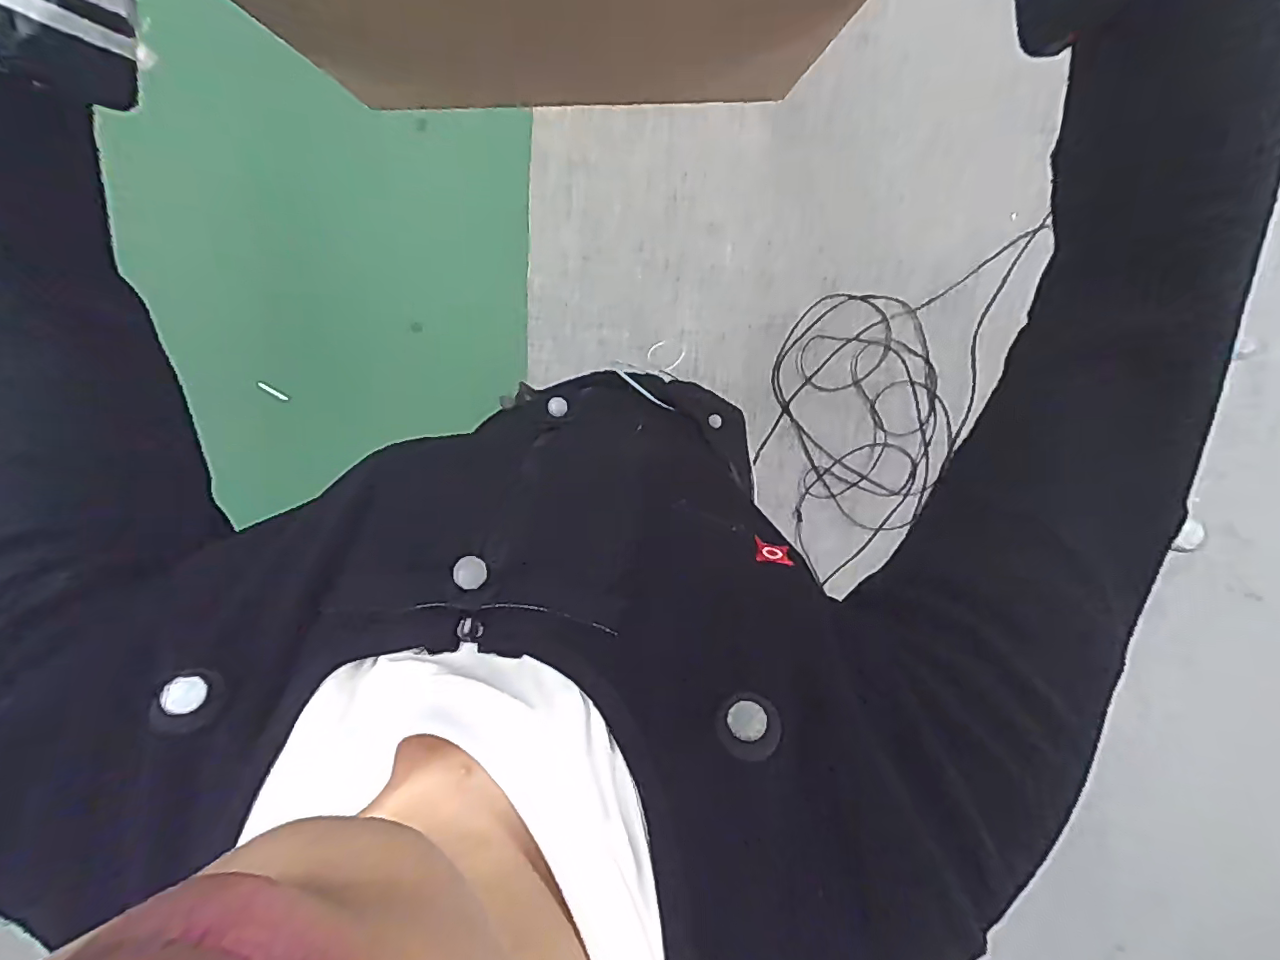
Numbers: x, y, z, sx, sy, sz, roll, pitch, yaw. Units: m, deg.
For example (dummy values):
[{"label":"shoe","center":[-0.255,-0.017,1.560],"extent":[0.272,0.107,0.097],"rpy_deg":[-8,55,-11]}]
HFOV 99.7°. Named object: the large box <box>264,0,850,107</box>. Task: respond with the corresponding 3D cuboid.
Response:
[{"label":"large box","center":[-0.056,-0.469,0.339],"extent":[0.408,0.320,0.320],"rpy_deg":[-3,108,-3]}]
